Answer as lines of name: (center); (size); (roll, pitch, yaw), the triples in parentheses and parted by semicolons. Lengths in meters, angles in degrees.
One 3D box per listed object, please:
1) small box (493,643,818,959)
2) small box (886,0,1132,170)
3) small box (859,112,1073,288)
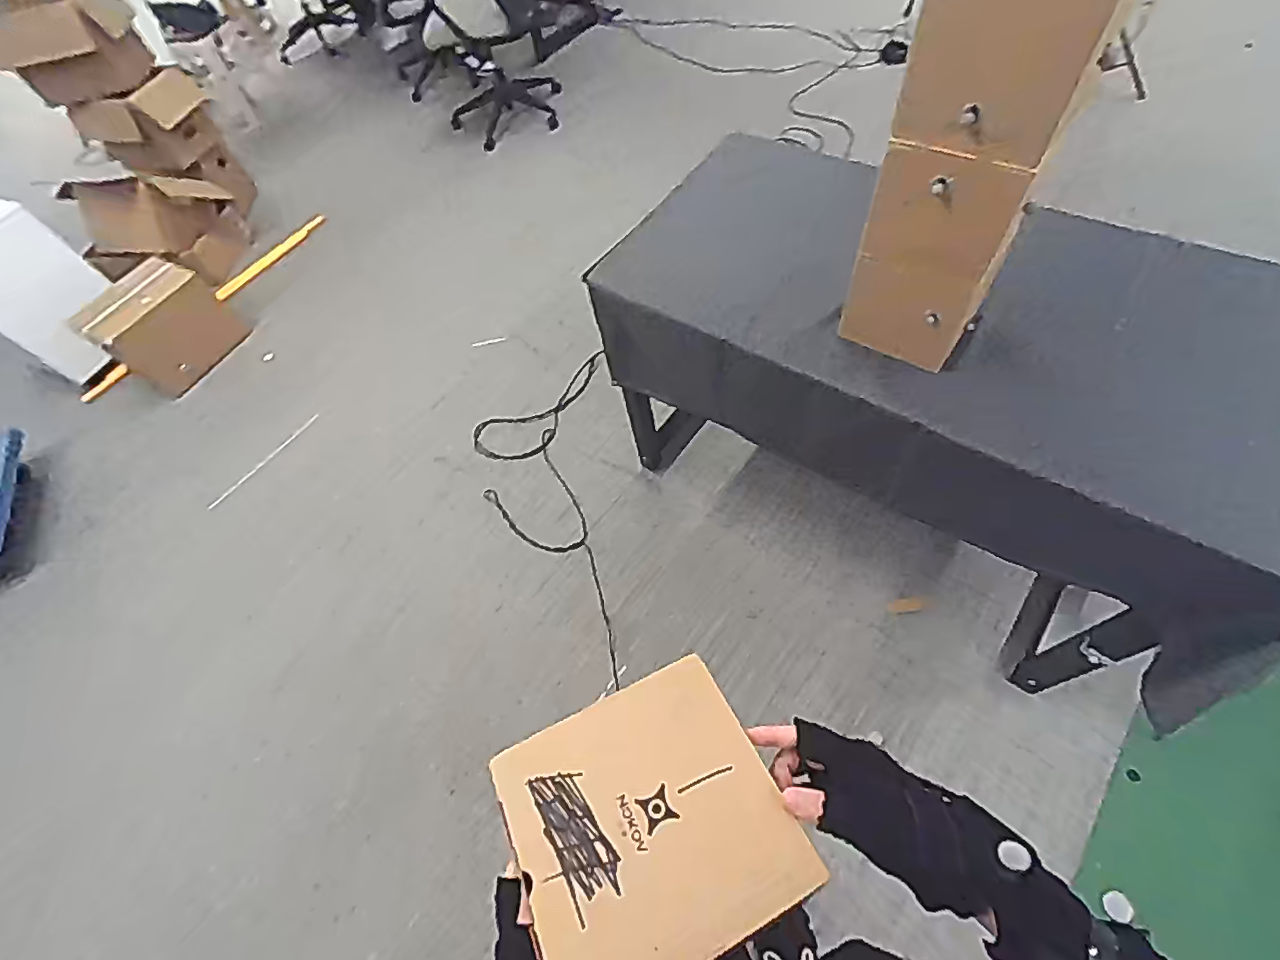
small box: (0.011, 0.268, 0.422); (0.179, 0.176, 0.168); (-23, 49, -13)
small box: (0.413, -0.484, 0.608); (0.179, 0.176, 0.168); (32, 68, 24)
small box: (0.432, -0.394, 0.744); (0.179, 0.176, 0.168); (30, 67, 24)
